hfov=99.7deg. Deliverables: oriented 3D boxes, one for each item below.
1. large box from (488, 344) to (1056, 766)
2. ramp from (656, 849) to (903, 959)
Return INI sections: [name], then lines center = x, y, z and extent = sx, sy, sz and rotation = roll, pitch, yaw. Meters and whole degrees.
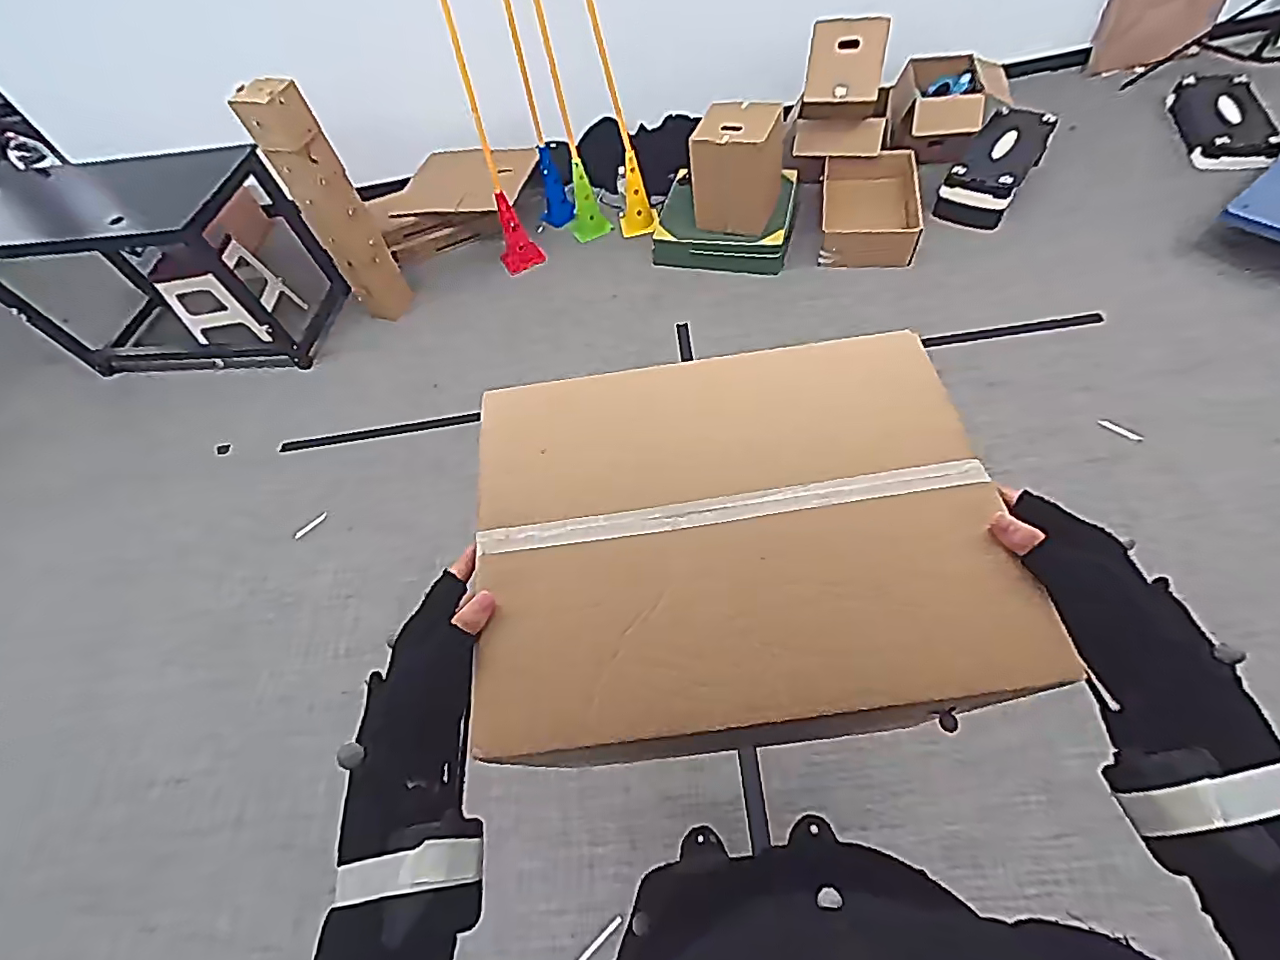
[large box]
center = 0.087, 0.103, 0.572
extent = 0.408, 0.320, 0.320
rotation = -9, 60, 1
[ramp]
center = 0.327, 1.288, 0.993
extent = 0.509, 0.206, 0.991
rotation = -9, 57, 3
